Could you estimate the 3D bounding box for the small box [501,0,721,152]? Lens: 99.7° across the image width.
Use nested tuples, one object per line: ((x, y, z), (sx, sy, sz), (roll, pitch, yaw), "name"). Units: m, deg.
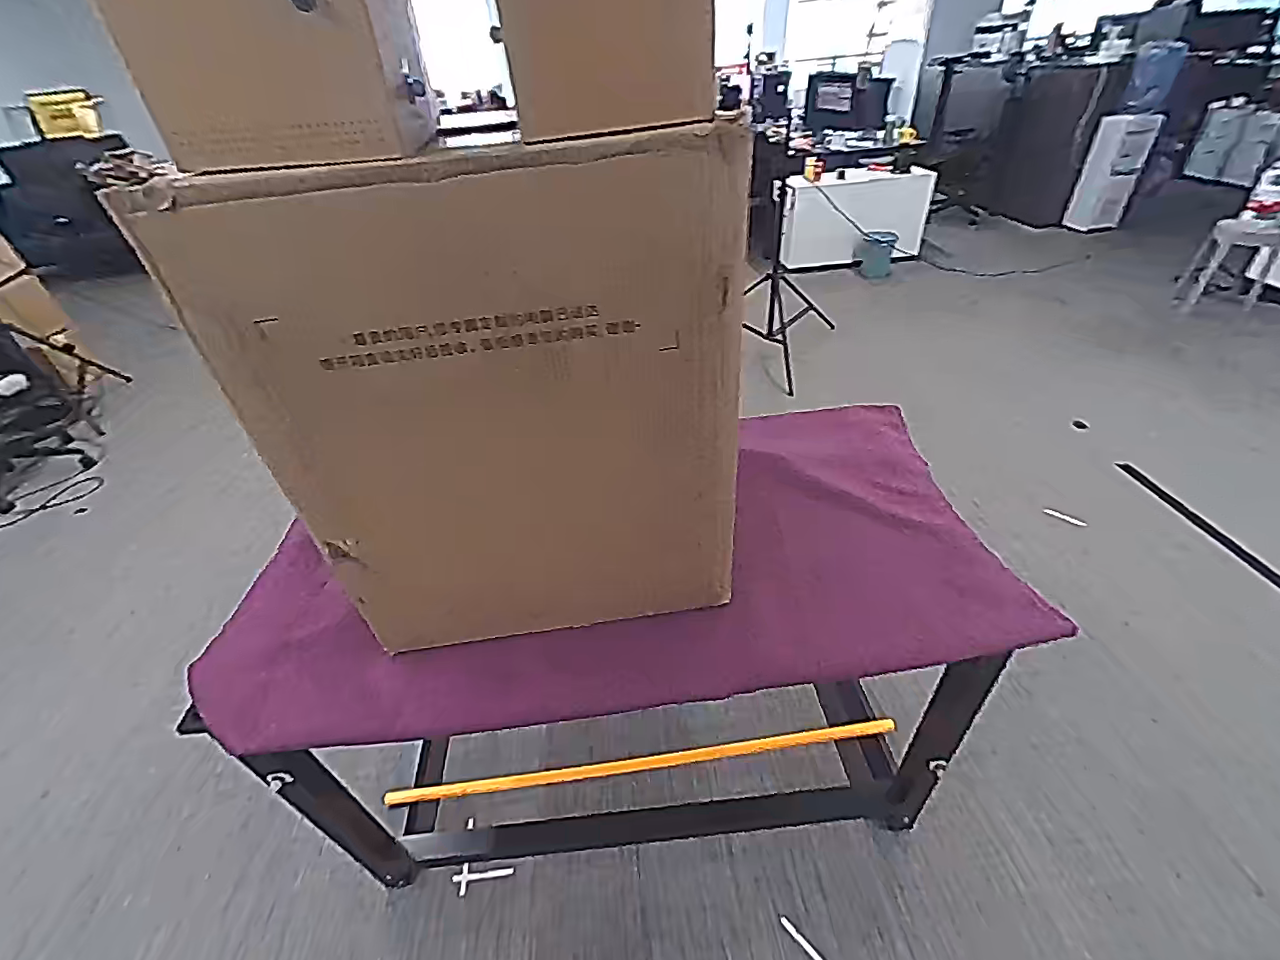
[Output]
((-0.029, -0.396, 0.461), (0.168, 0.176, 0.179), (-9, 38, -3), "small box")
